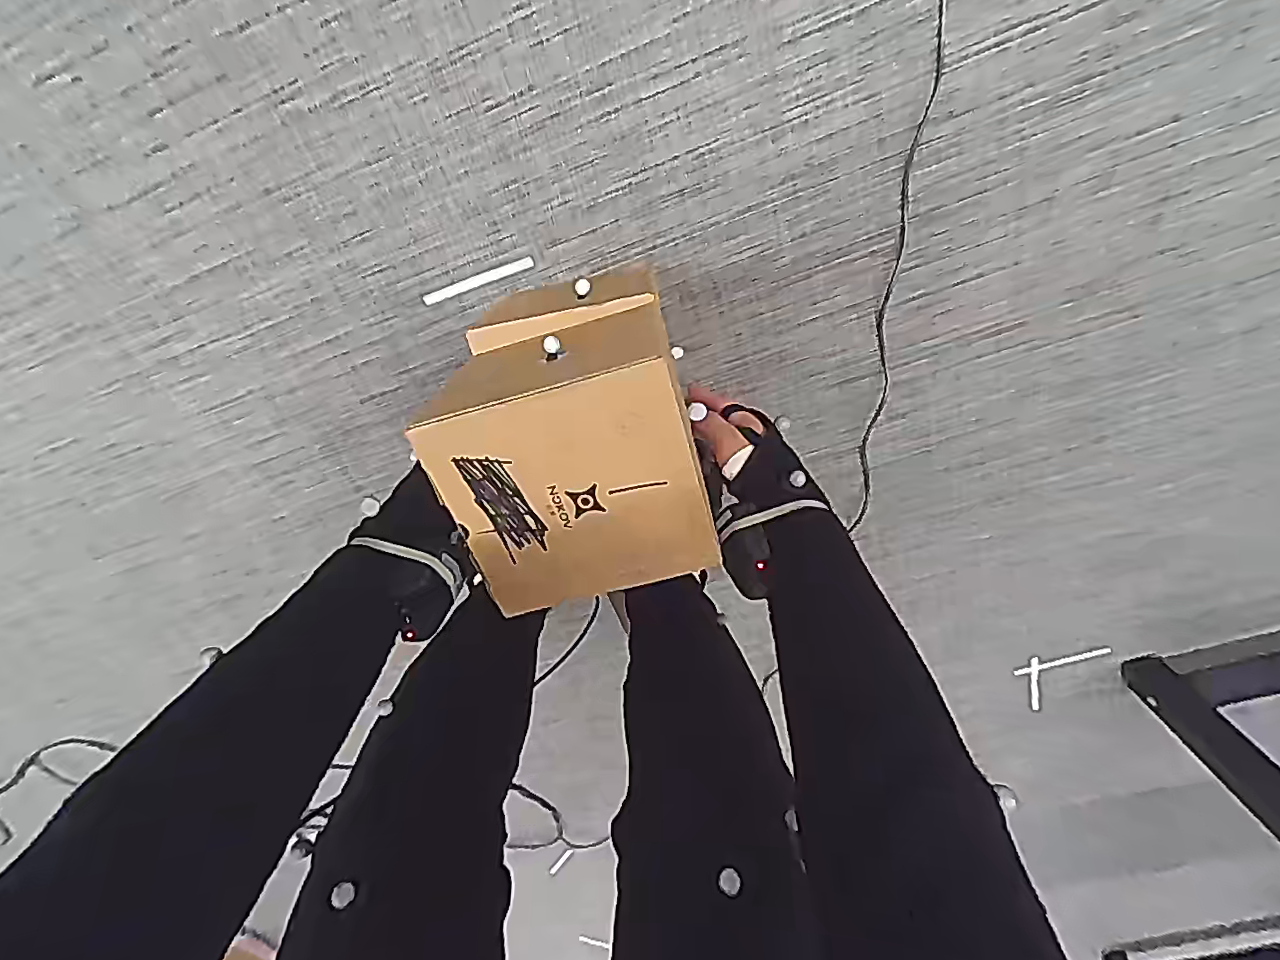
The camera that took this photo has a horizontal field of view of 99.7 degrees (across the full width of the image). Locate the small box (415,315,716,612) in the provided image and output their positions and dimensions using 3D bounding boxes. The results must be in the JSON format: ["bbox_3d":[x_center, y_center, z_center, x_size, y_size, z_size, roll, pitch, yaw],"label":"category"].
[{"bbox_3d":[-0.046,-0.022,0.452,0.179,0.176,0.168,-15,118,7],"label":"small box"}]

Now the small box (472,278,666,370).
[{"bbox_3d":[-0.057,-0.112,0.590,0.179,0.176,0.168,-10,118,4],"label":"small box"}]
